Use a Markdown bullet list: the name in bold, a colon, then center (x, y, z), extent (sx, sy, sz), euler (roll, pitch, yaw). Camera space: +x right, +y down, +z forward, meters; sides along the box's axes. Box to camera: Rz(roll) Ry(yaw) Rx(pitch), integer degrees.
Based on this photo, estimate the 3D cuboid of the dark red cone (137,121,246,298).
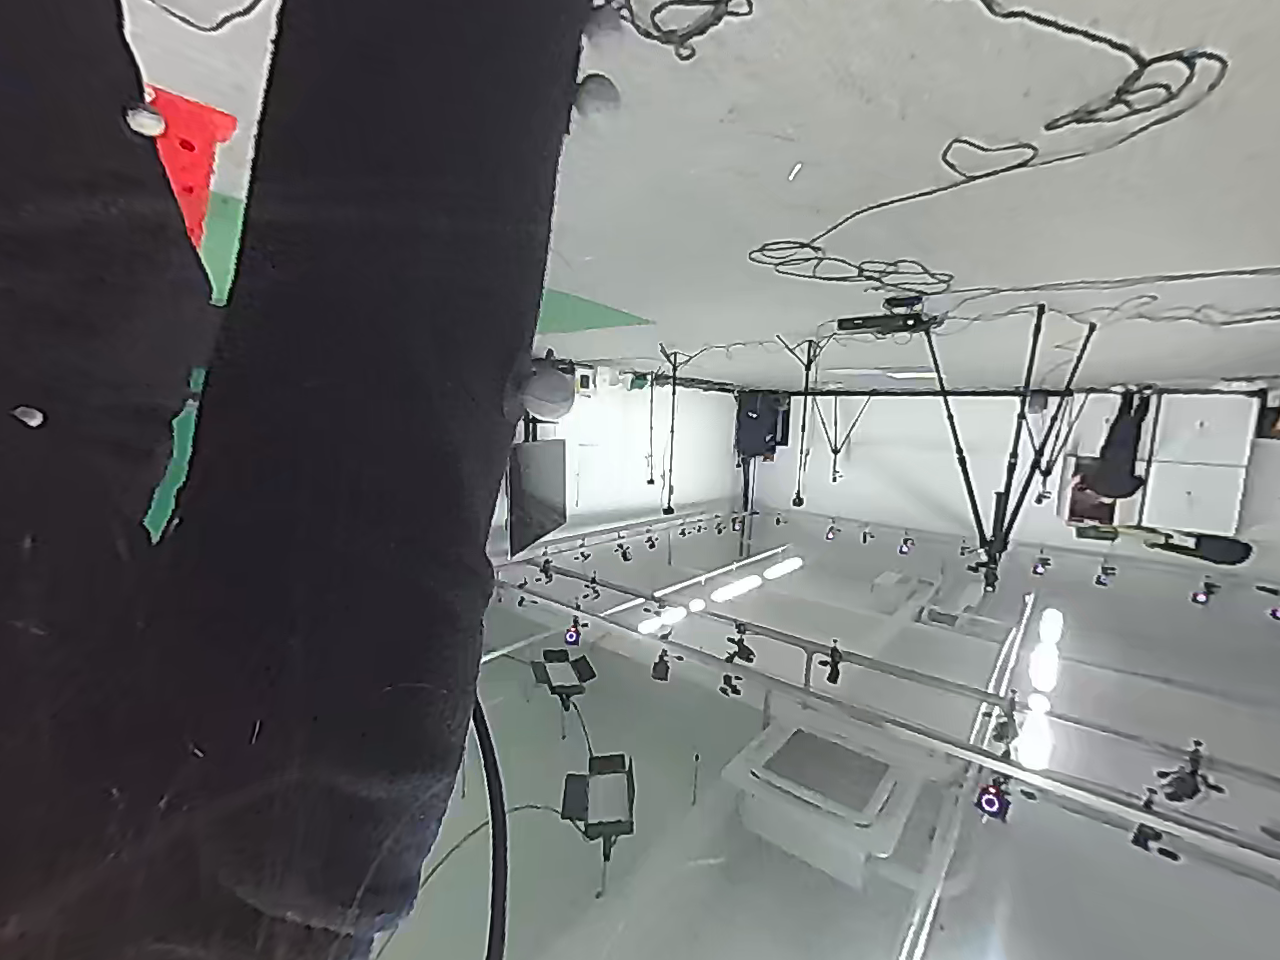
- **dark red cone**: center (-1.115, -0.664, 1.360), extent (0.202, 0.394, 0.201), euler (-4, -169, -43)
